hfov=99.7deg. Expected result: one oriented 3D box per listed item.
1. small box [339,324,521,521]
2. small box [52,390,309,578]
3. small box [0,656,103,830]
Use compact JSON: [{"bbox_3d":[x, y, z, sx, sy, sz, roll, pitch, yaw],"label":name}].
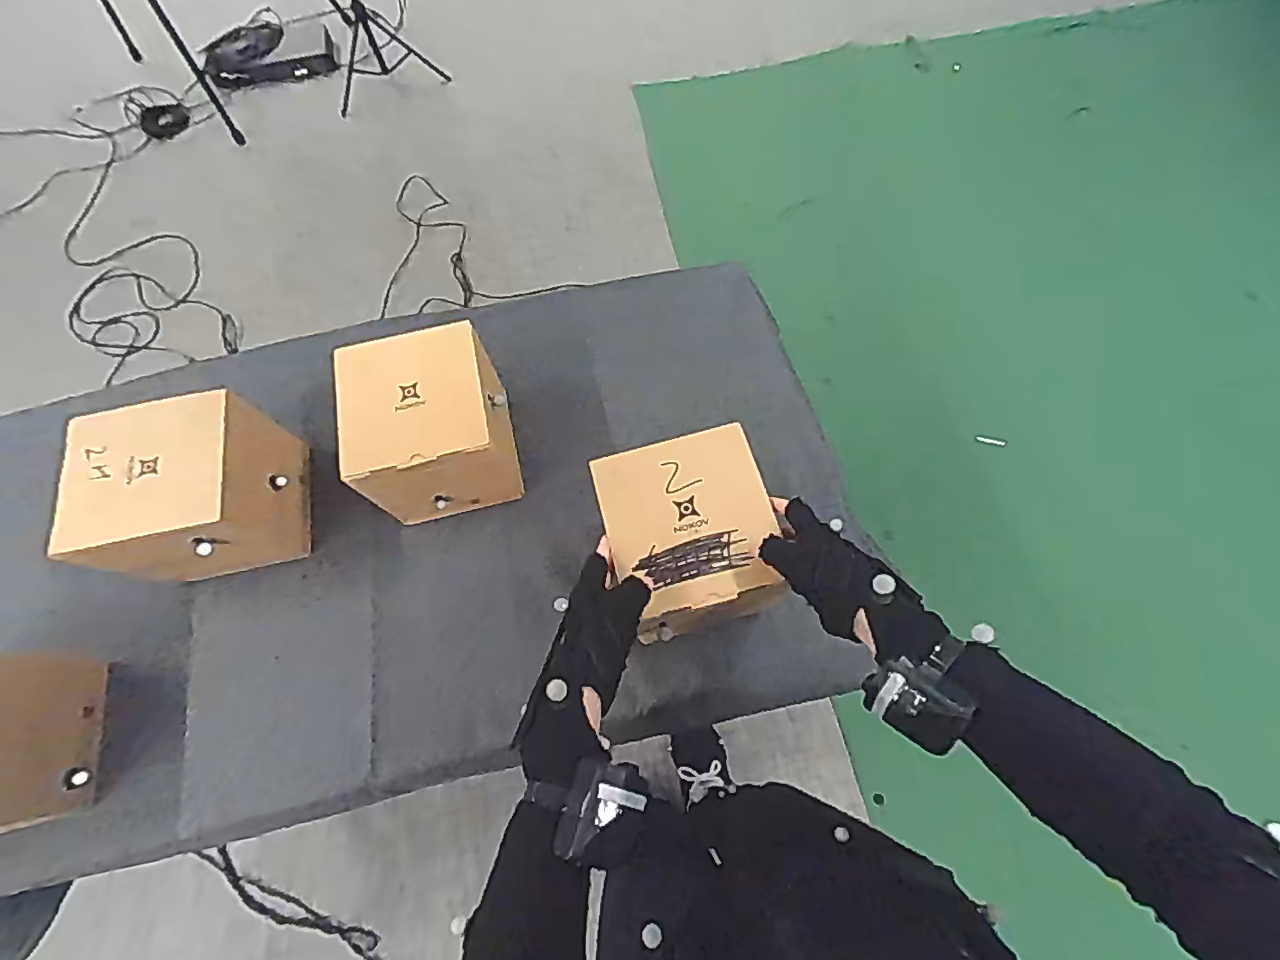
[{"bbox_3d":[-0.260,-0.067,0.694,0.168,0.176,0.179,-13,69,-4],"label":"small box"},{"bbox_3d":[-0.536,0.013,0.663,0.179,0.176,0.168,-12,69,-4],"label":"small box"},{"bbox_3d":[-0.724,0.284,0.560,0.179,0.176,0.168,-14,68,-4],"label":"small box"}]
